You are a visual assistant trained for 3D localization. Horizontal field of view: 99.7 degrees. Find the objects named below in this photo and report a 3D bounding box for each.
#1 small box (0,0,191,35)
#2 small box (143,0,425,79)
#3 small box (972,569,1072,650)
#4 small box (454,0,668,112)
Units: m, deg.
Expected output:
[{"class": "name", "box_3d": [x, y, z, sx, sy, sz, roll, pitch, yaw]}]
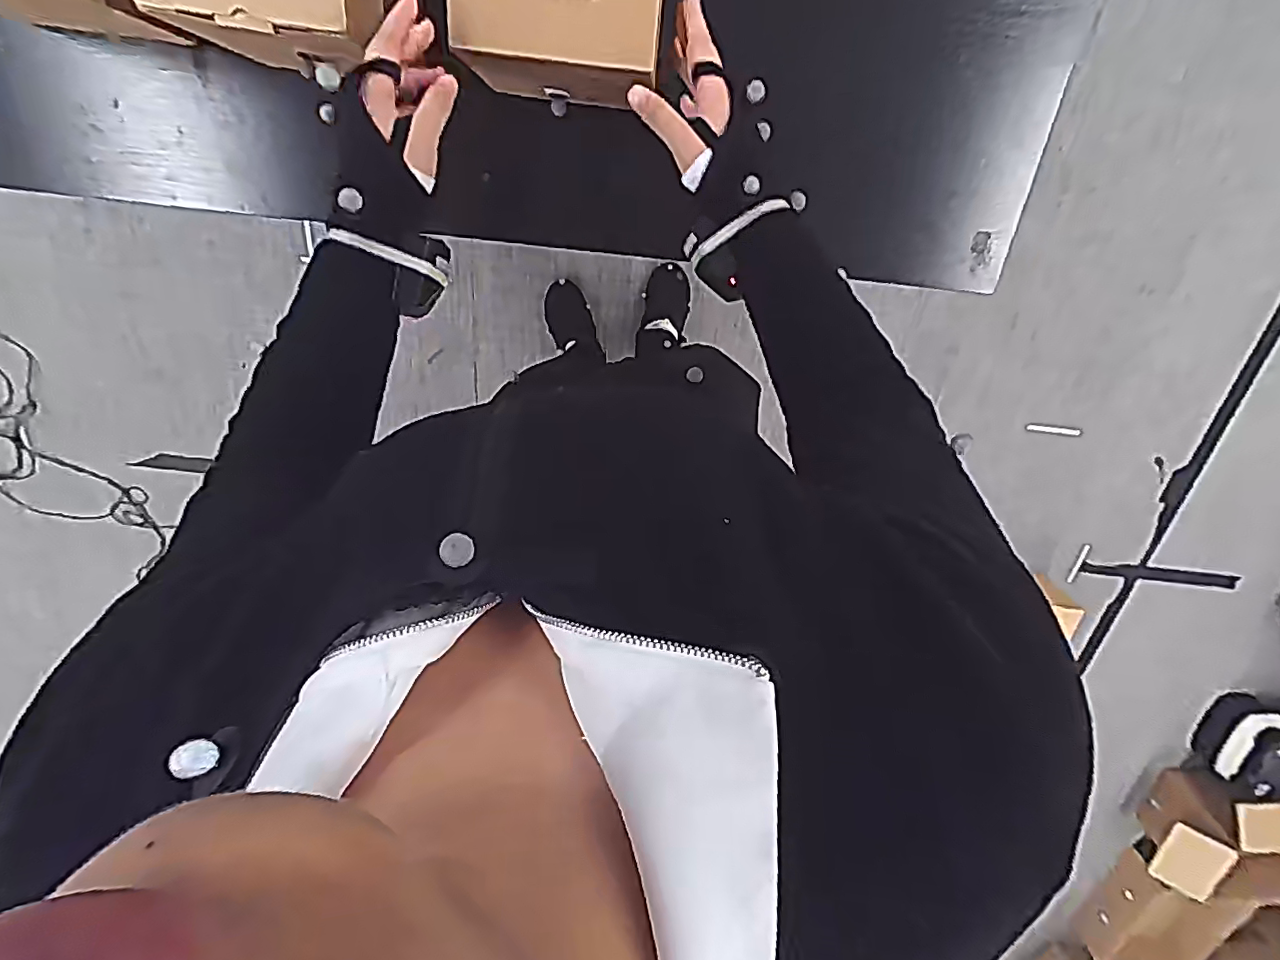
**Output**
[{"class": "small box", "box_3d": [-0.525, -0.499, 0.443, 0.179, 0.176, 0.168, 6, 115, -4]}, {"class": "small box", "box_3d": [-0.294, -0.470, 0.459, 0.168, 0.176, 0.179, 7, 116, -3]}, {"class": "small box", "box_3d": [1.177, 0.401, 1.683, 0.168, 0.176, 0.179, 5, 116, -2]}, {"class": "small box", "box_3d": [-0.057, -0.448, 0.473, 0.168, 0.176, 0.179, 5, 116, -1]}]
